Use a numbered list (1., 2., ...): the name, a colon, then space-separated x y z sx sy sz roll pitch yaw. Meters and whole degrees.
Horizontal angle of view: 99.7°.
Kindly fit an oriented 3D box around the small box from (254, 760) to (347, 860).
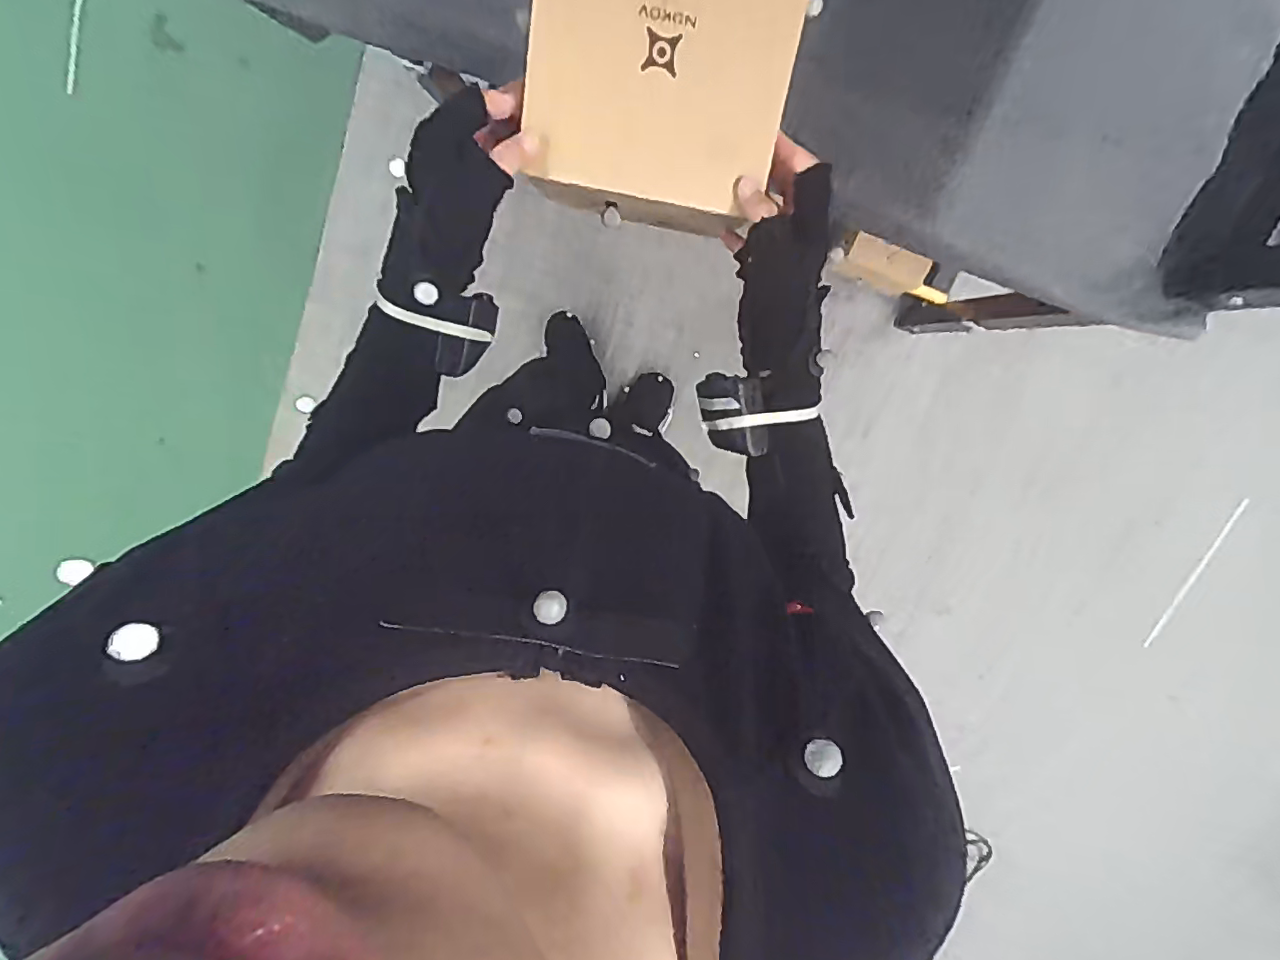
1. small box: -1.049 1.021 1.683 0.168 0.176 0.179 22 102 -3

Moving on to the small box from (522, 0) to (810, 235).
1. small box: 0.017 -0.295 0.407 0.168 0.176 0.179 9 108 -3
